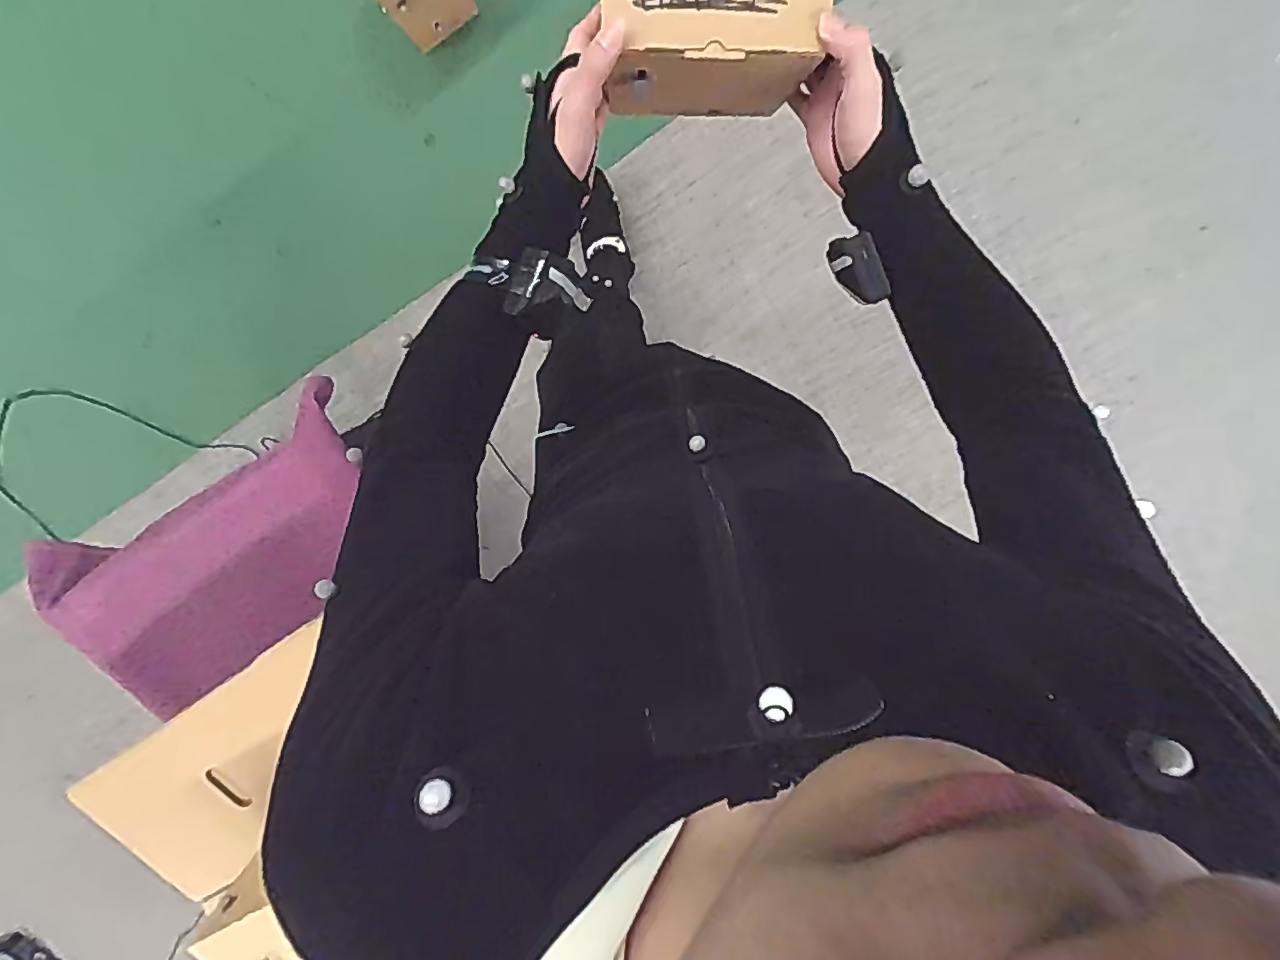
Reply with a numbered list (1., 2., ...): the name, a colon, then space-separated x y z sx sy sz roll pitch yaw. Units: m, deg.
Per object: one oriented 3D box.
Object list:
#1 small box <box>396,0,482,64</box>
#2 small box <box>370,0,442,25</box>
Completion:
1. small box: -0.483 -1.088 1.202 0.168 0.176 0.179 -30 106 9
2. small box: -0.484 -1.038 1.046 0.168 0.176 0.179 -30 105 9
